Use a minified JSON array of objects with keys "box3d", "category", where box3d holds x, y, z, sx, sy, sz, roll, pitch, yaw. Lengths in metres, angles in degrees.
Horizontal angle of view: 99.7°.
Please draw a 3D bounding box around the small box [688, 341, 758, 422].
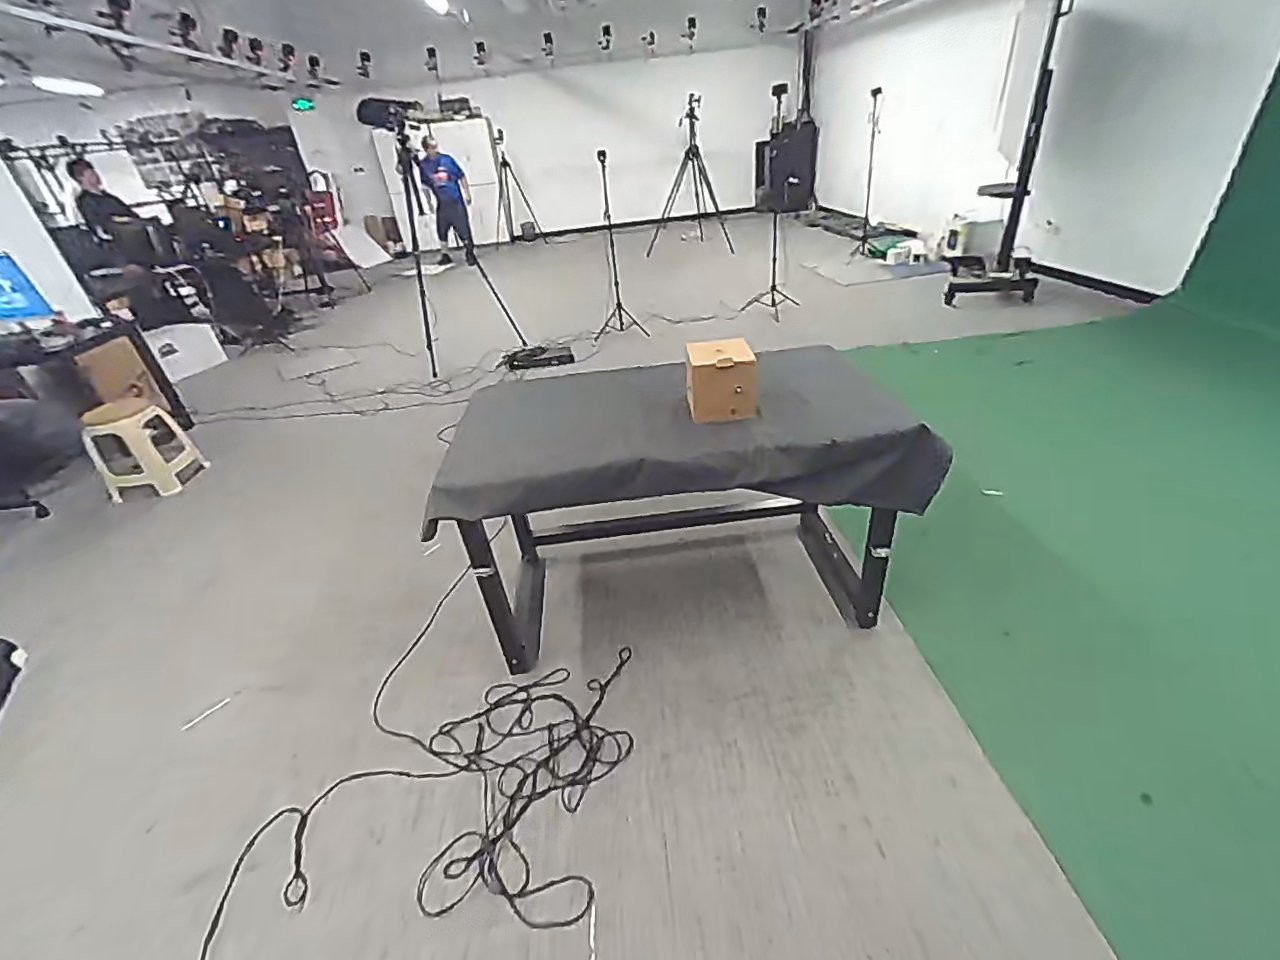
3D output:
[{"box3d":[0.222,-0.264,1.468,0.168,0.176,0.179,-5,31,1],"category":"small box"}]
